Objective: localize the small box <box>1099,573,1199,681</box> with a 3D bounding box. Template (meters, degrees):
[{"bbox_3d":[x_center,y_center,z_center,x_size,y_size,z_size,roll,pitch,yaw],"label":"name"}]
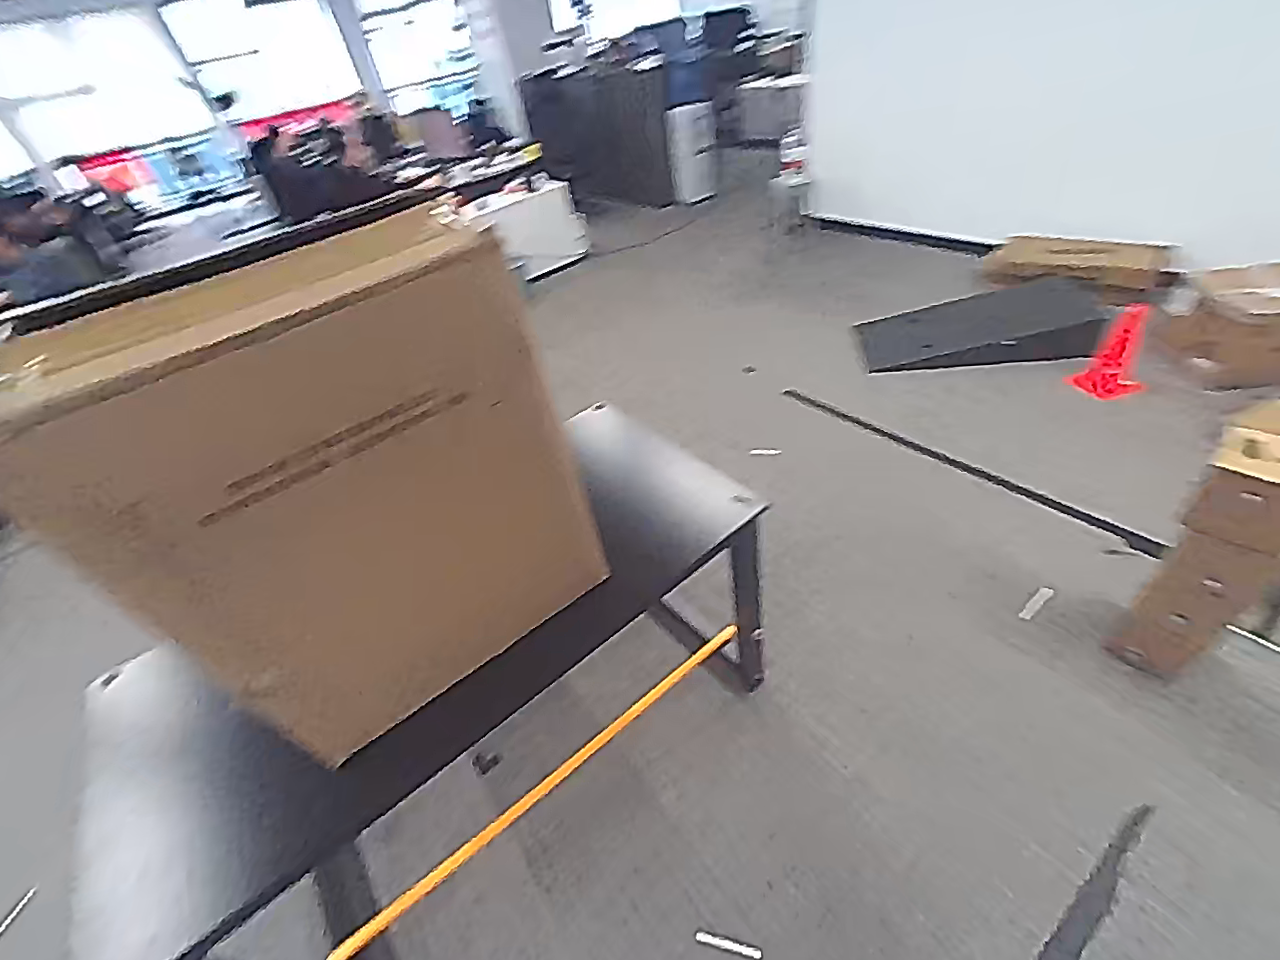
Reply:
[{"bbox_3d":[1.370,0.390,1.436,0.179,0.176,0.168,-35,45,-24],"label":"small box"}]

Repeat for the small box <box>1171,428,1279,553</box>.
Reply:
[{"bbox_3d":[1.265,0.022,1.122,0.168,0.176,0.179,-37,46,-27],"label":"small box"}]

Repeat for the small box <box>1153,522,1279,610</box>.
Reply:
[{"bbox_3d":[1.305,0.154,1.214,0.179,0.176,0.168,-38,45,-27],"label":"small box"}]

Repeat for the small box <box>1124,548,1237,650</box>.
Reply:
[{"bbox_3d":[1.334,0.278,1.321,0.179,0.176,0.168,-34,45,-24],"label":"small box"}]
